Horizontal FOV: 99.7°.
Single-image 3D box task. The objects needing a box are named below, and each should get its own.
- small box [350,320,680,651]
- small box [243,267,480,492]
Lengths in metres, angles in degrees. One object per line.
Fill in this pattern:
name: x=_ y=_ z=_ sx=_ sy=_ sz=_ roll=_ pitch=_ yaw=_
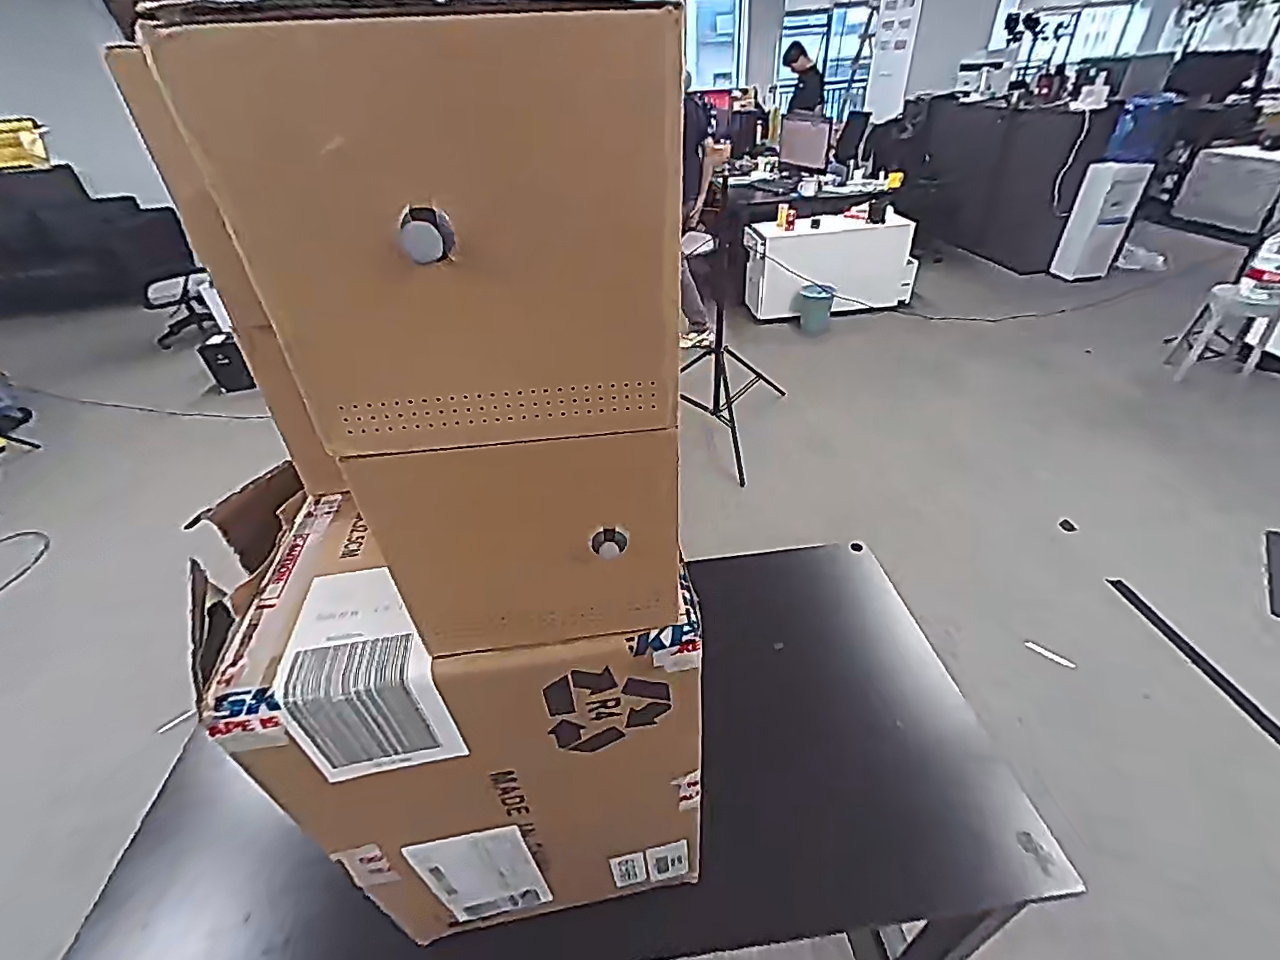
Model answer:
small box: x=-0.071 y=0.000 z=0.395 sx=0.179 sy=0.176 sz=0.168 roll=-7 pitch=37 yaw=-4
small box: x=-0.249 y=-0.110 z=0.550 sx=0.168 sy=0.176 sz=0.179 roll=-8 pitch=36 yaw=-8
